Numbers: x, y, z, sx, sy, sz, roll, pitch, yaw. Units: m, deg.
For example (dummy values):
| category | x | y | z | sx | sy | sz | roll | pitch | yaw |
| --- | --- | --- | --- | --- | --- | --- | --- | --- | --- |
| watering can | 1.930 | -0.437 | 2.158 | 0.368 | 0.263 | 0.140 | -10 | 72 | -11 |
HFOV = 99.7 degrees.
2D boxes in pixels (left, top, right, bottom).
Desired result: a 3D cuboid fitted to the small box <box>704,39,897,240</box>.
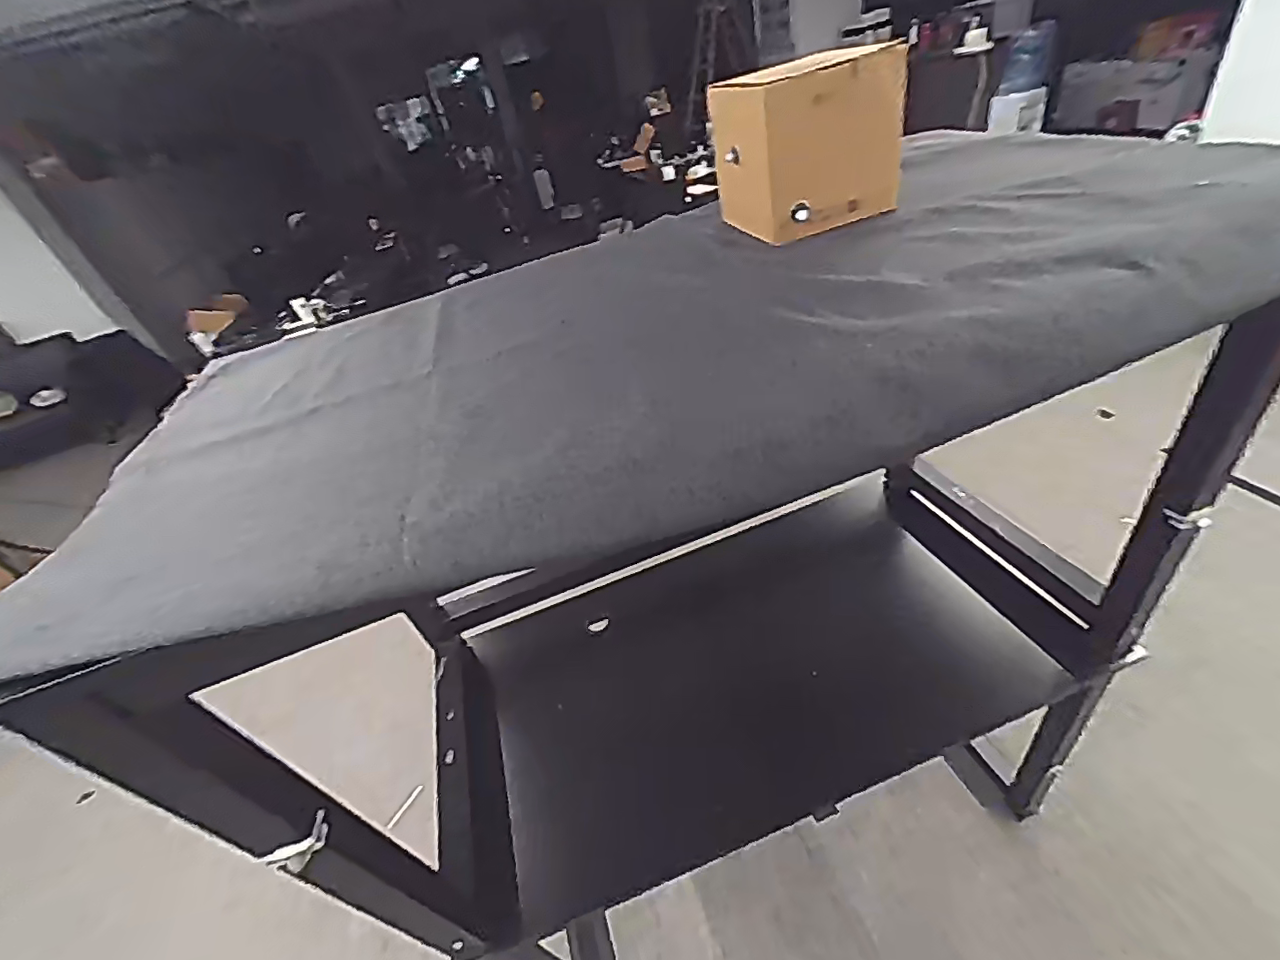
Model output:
| category | x | y | z | sx | sy | sz | roll | pitch | yaw |
| --- | --- | --- | --- | --- | --- | --- | --- | --- | --- |
| small box | 0.197 | -0.421 | 0.682 | 0.168 | 0.176 | 0.179 | -19 | 37 | -4 |
